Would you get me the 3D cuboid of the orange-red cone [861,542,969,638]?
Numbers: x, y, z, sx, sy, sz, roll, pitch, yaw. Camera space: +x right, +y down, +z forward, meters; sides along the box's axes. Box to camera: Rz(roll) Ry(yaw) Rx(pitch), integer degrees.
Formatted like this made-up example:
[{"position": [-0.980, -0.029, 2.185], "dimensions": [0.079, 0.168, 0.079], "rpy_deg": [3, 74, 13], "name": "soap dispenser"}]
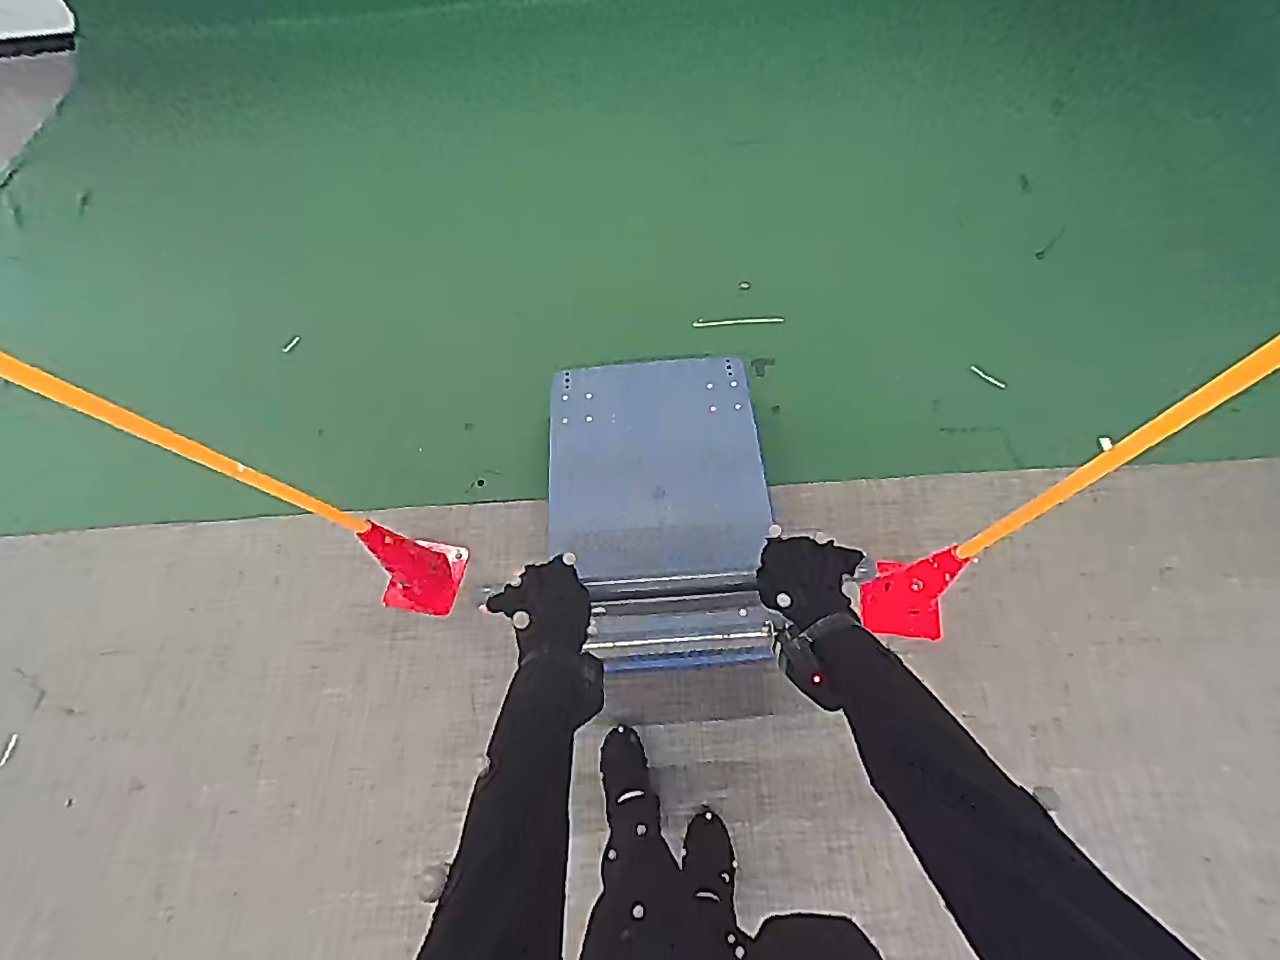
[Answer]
[{"position": [0.676, 0.229, 1.276], "dimensions": [0.198, 0.360, 0.199], "rpy_deg": [6, 64, 7], "name": "orange-red cone"}]
